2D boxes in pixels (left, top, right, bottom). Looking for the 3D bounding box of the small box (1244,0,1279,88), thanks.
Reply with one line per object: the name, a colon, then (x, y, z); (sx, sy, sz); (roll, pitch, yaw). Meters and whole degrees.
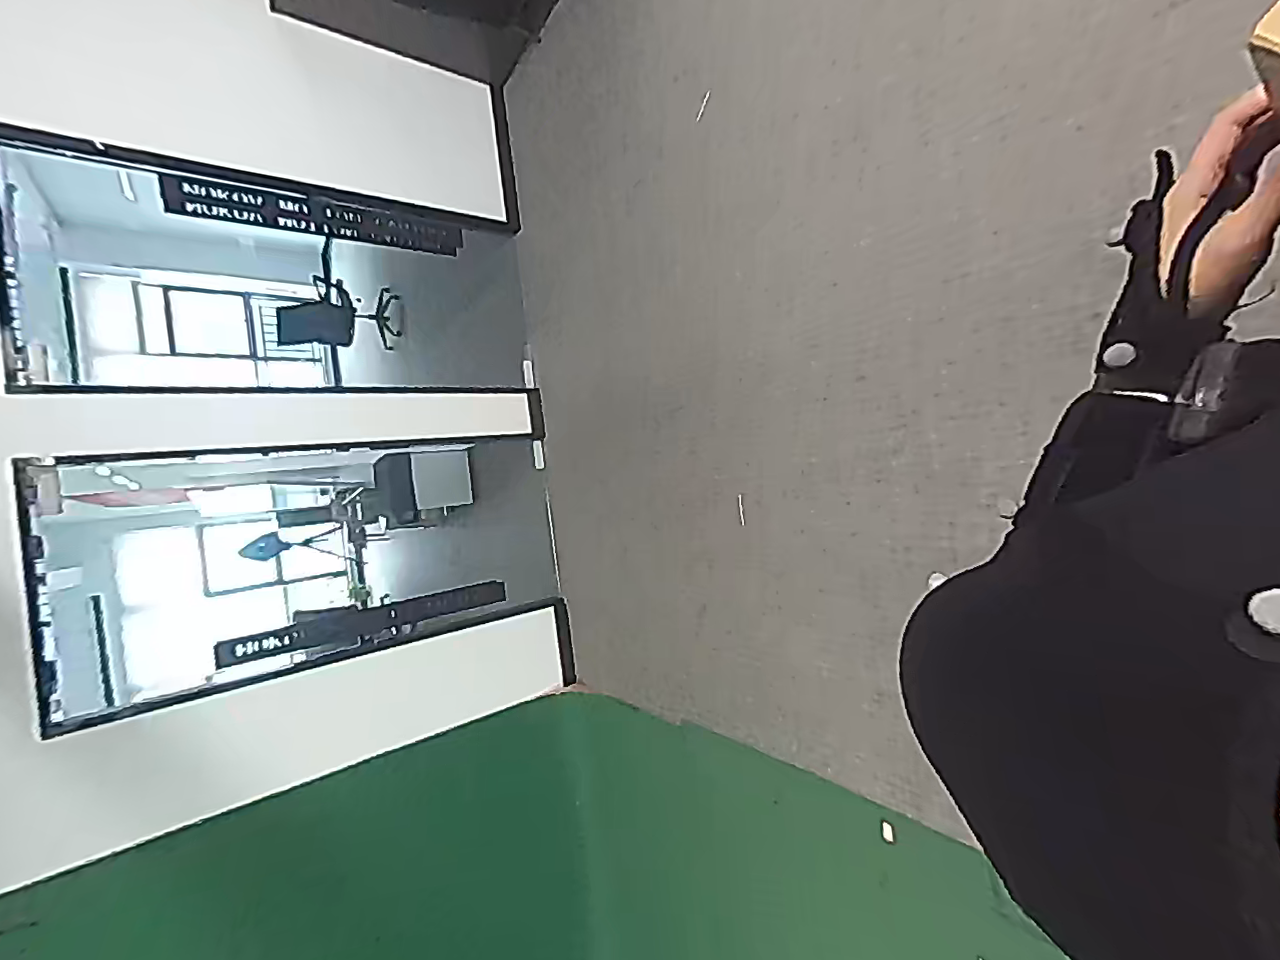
small box: (0.400, -0.187, 0.189); (0.179, 0.176, 0.168); (-55, 48, 41)
